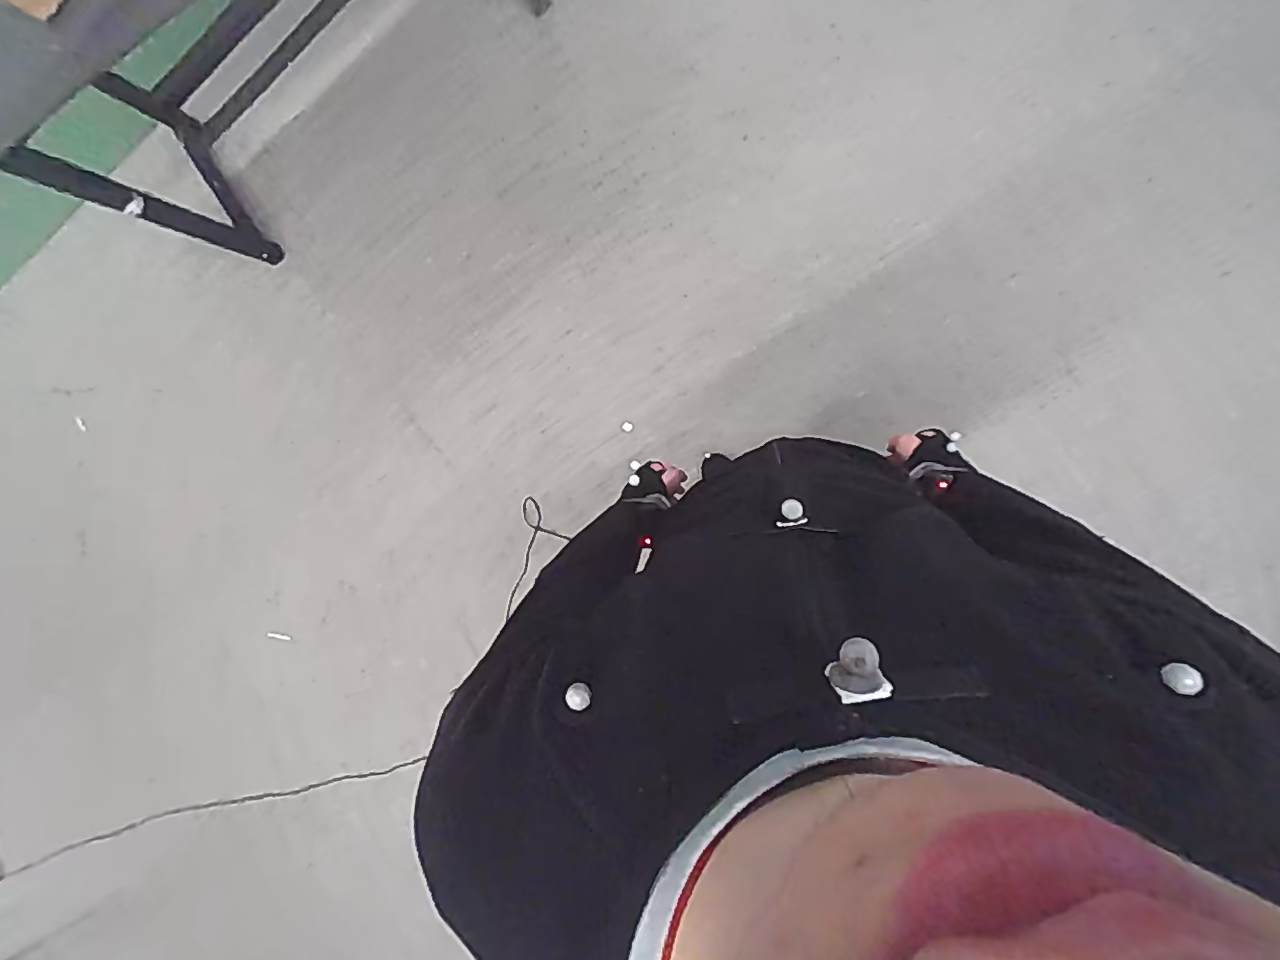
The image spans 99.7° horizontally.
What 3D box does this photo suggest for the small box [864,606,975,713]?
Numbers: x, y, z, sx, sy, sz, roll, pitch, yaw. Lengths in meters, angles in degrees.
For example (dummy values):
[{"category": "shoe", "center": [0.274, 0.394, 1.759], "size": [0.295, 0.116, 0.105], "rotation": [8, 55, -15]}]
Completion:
[{"category": "small box", "center": [0.716, 0.457, 1.406], "size": [0.168, 0.176, 0.179], "rotation": [-39, 85, 11]}]
